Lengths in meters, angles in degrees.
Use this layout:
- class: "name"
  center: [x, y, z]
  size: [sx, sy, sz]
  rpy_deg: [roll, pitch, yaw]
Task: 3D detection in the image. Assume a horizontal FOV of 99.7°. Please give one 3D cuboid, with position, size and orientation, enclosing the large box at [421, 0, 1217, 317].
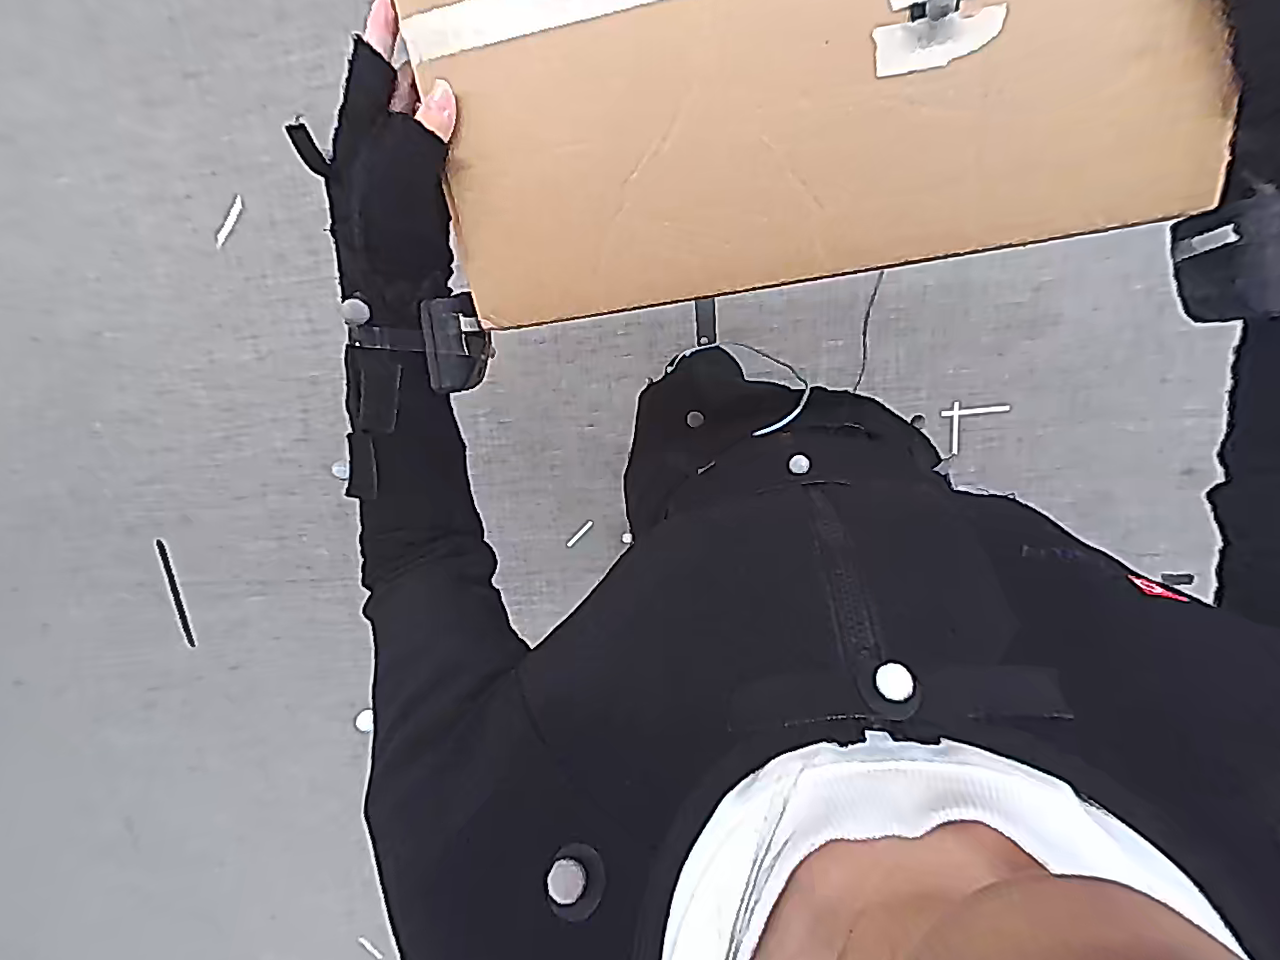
- class: "large box"
  center: [0.090, -0.324, 0.412]
  size: [0.408, 0.320, 0.320]
  rpy_deg: [-7, 110, 10]
